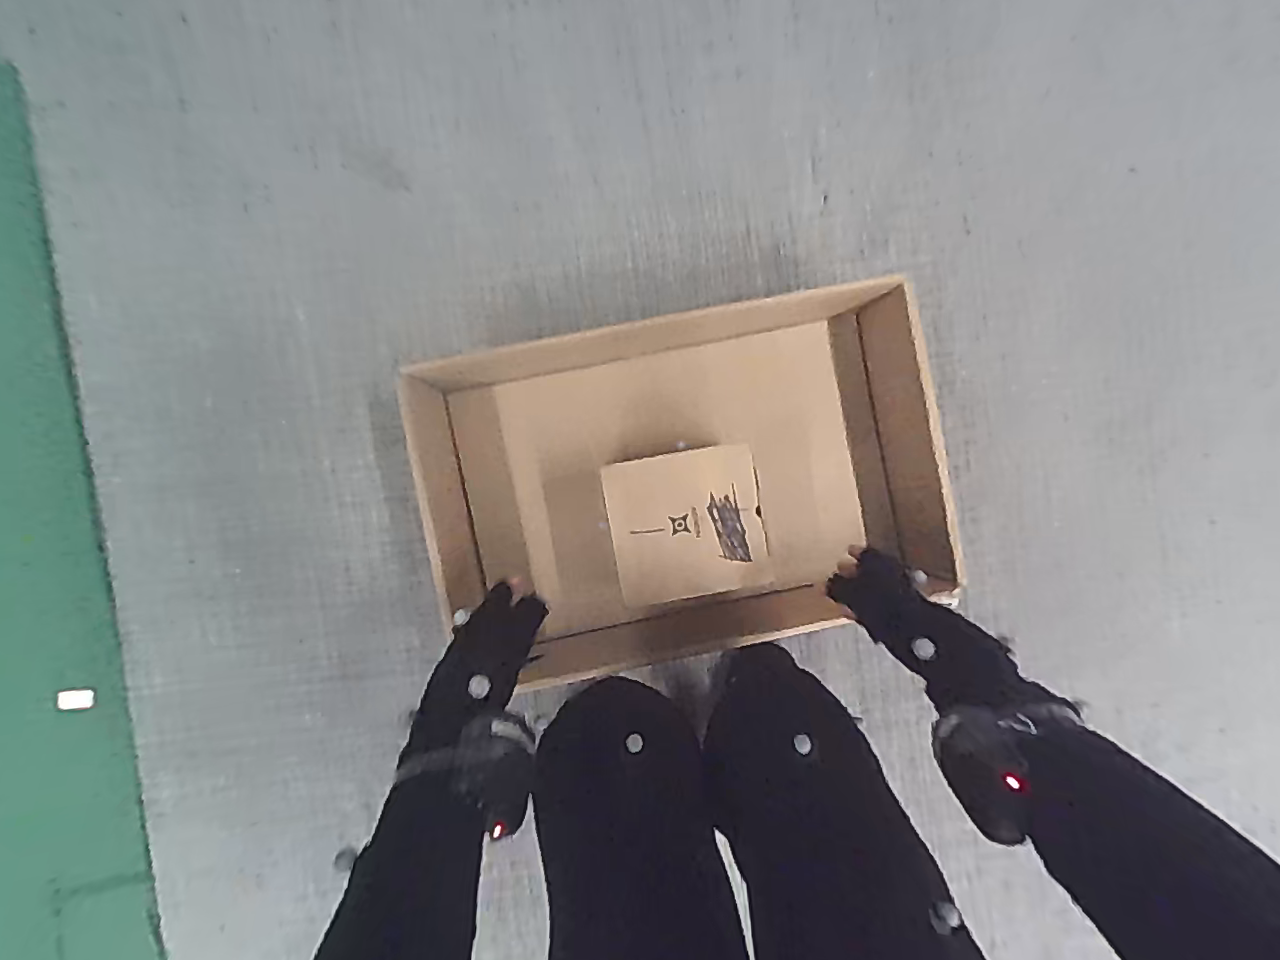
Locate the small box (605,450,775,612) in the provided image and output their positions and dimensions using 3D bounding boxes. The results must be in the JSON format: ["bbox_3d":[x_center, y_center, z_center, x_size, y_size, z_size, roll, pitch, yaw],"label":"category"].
[{"bbox_3d":[0.057,0.056,0.699,0.179,0.176,0.168,-10,91,0],"label":"small box"}]
